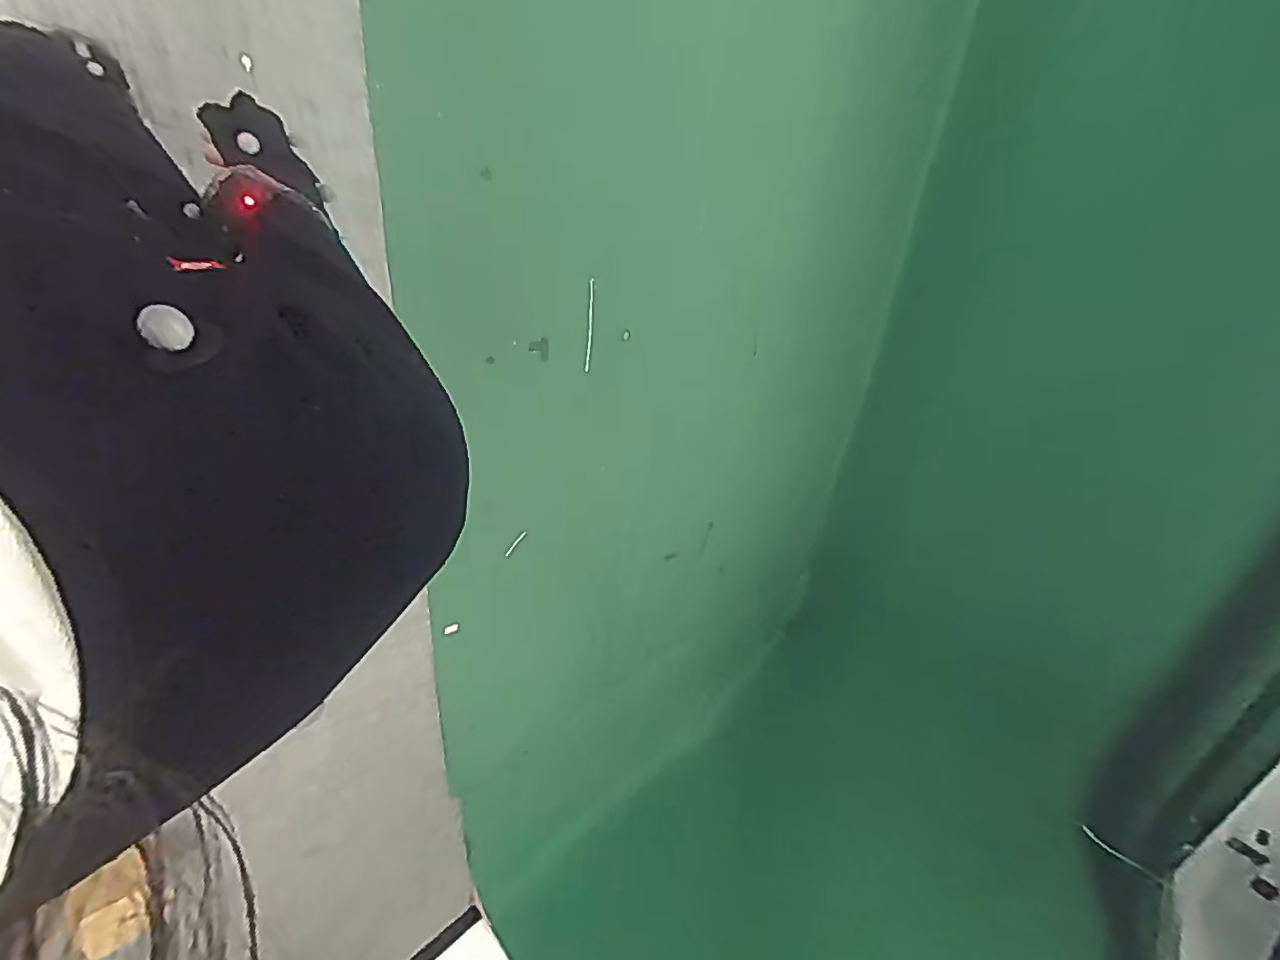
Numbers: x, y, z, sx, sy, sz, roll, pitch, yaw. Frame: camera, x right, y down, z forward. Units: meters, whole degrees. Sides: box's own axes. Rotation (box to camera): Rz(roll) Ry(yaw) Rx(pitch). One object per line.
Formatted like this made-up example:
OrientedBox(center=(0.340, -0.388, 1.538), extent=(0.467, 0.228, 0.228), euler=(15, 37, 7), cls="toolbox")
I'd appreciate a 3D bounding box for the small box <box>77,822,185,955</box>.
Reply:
OrientedBox(center=(-1.316, 1.045, 1.398), extent=(0.179, 0.176, 0.168), euler=(-16, 124, -43), cls="small box")
